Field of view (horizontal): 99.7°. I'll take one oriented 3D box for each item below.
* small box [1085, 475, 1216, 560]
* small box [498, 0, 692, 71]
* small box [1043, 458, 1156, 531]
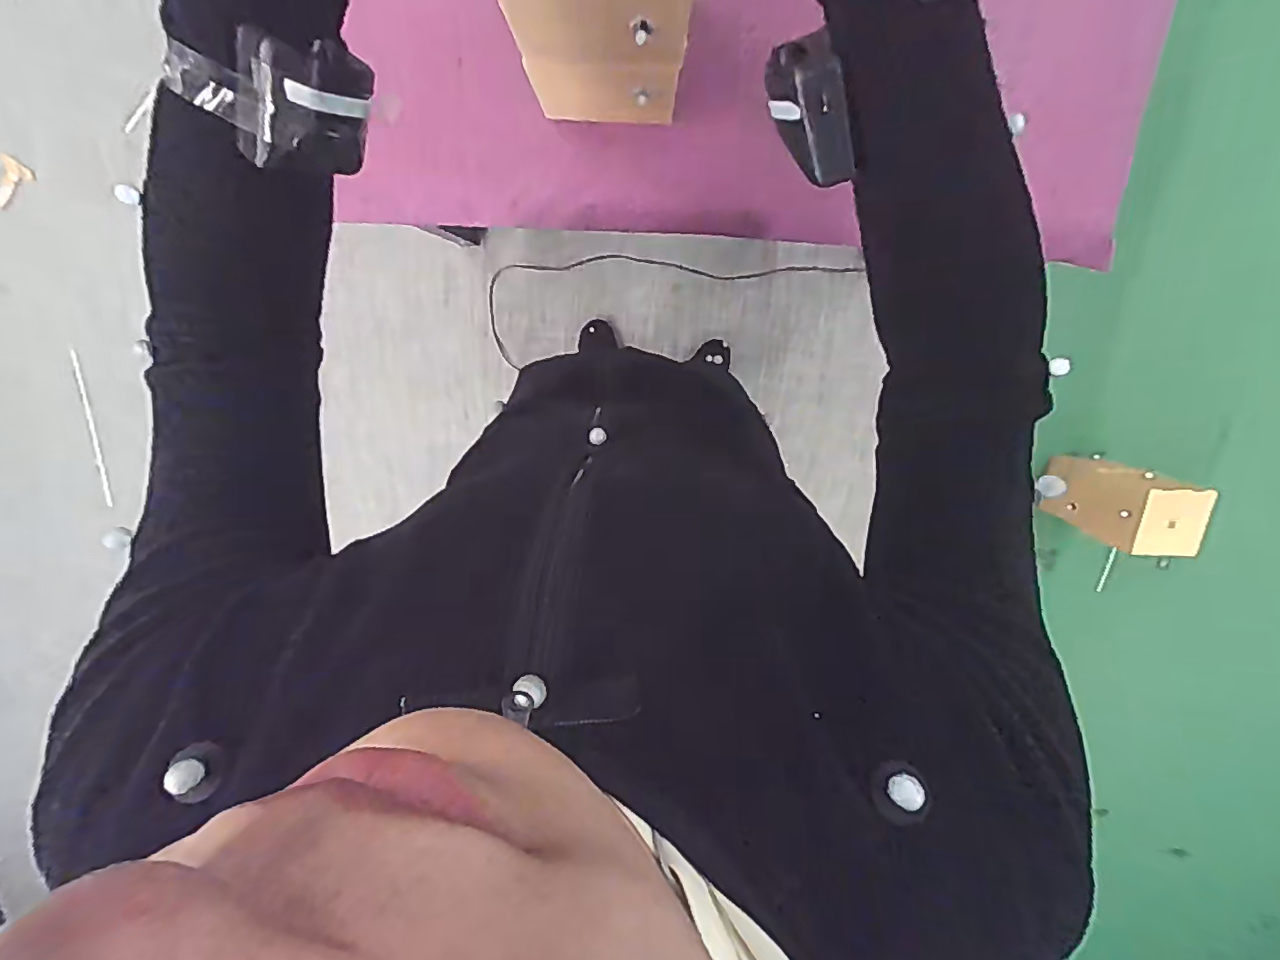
[{"bbox_3d":[1.320,0.095,1.415,0.168,0.176,0.179,1,105,0],"label":"small box"},{"bbox_3d":[-0.037,-0.510,0.498,0.179,0.176,0.168,3,105,0],"label":"small box"},{"bbox_3d":[1.320,0.044,1.569,0.168,0.176,0.179,4,106,-1],"label":"small box"}]
